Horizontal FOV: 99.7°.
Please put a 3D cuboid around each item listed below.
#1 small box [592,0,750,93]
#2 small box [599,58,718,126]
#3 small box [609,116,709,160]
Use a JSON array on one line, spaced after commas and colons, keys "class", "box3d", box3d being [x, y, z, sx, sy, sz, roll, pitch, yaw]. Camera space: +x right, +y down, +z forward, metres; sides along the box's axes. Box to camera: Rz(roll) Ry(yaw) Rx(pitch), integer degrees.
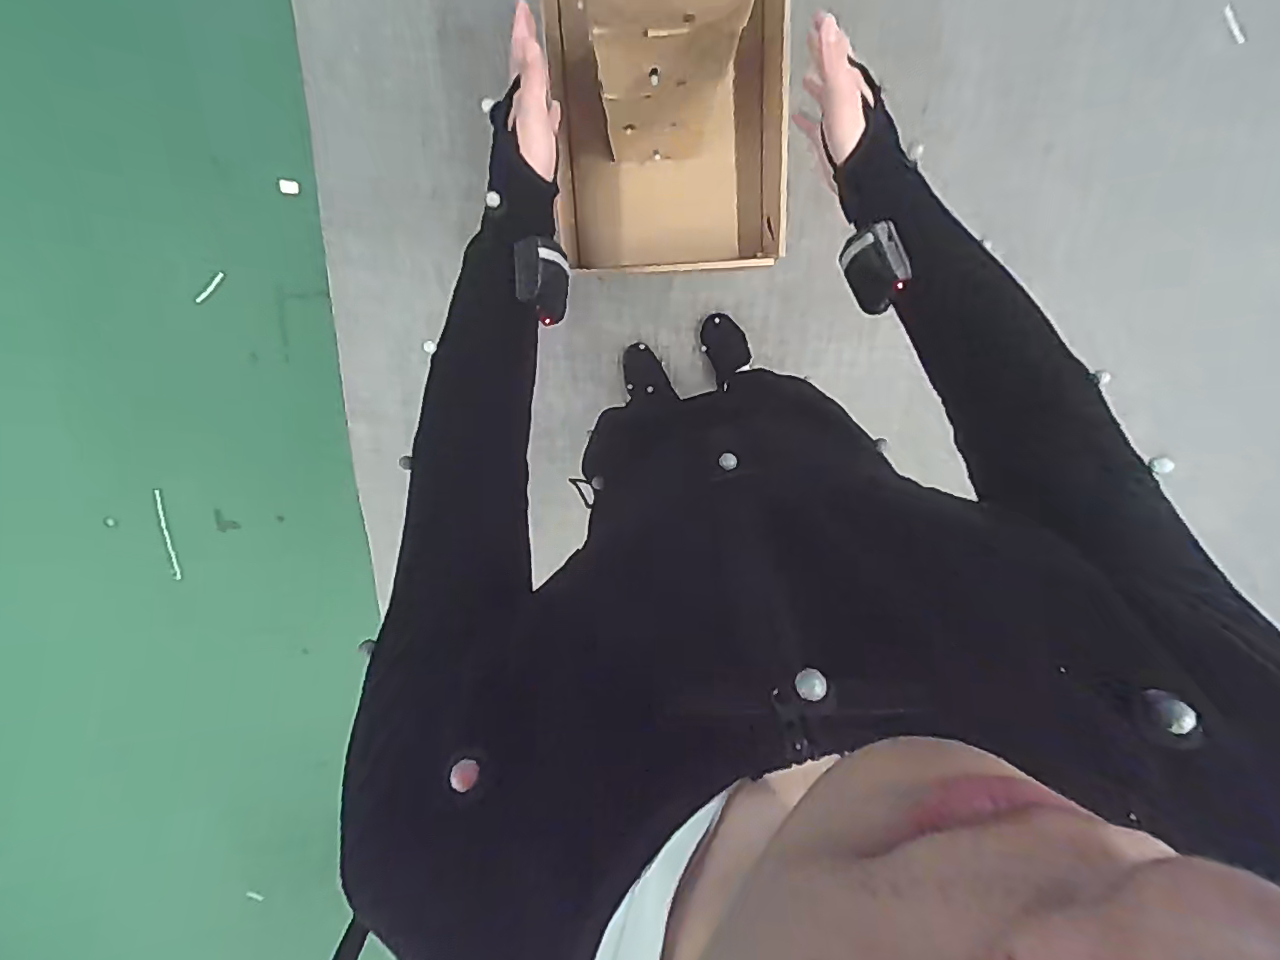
[{"class": "small box", "box3d": [0.026, -0.583, 0.618, 0.168, 0.176, 0.179, -5, 106, 2]}, {"class": "small box", "box3d": [0.026, -0.631, 0.773, 0.168, 0.176, 0.179, -4, 105, 2]}, {"class": "small box", "box3d": [0.030, -0.675, 0.930, 0.168, 0.176, 0.179, -2, 105, 2]}]
